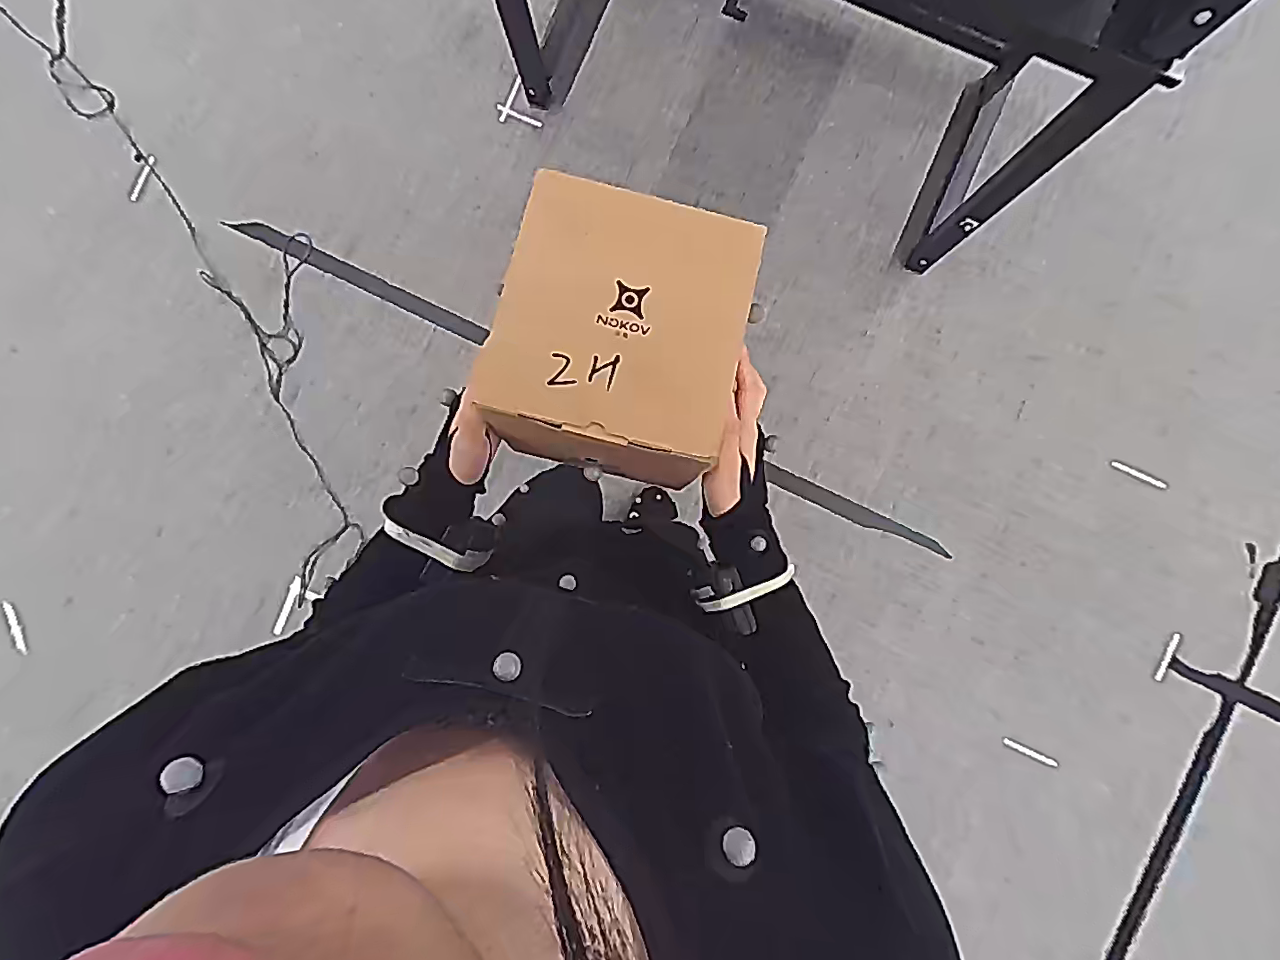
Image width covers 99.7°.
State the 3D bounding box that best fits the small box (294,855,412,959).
[{"bbox_3d":[-0.731,1.122,1.397,0.179,0.176,0.168,26,90,0],"label":"small box"}]

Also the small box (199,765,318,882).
[{"bbox_3d":[-0.978,0.881,1.405,0.168,0.176,0.179,18,90,1],"label":"small box"}]

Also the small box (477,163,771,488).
[{"bbox_3d":[-0.013,-0.102,0.436,0.168,0.176,0.179,14,82,-2],"label":"small box"}]
